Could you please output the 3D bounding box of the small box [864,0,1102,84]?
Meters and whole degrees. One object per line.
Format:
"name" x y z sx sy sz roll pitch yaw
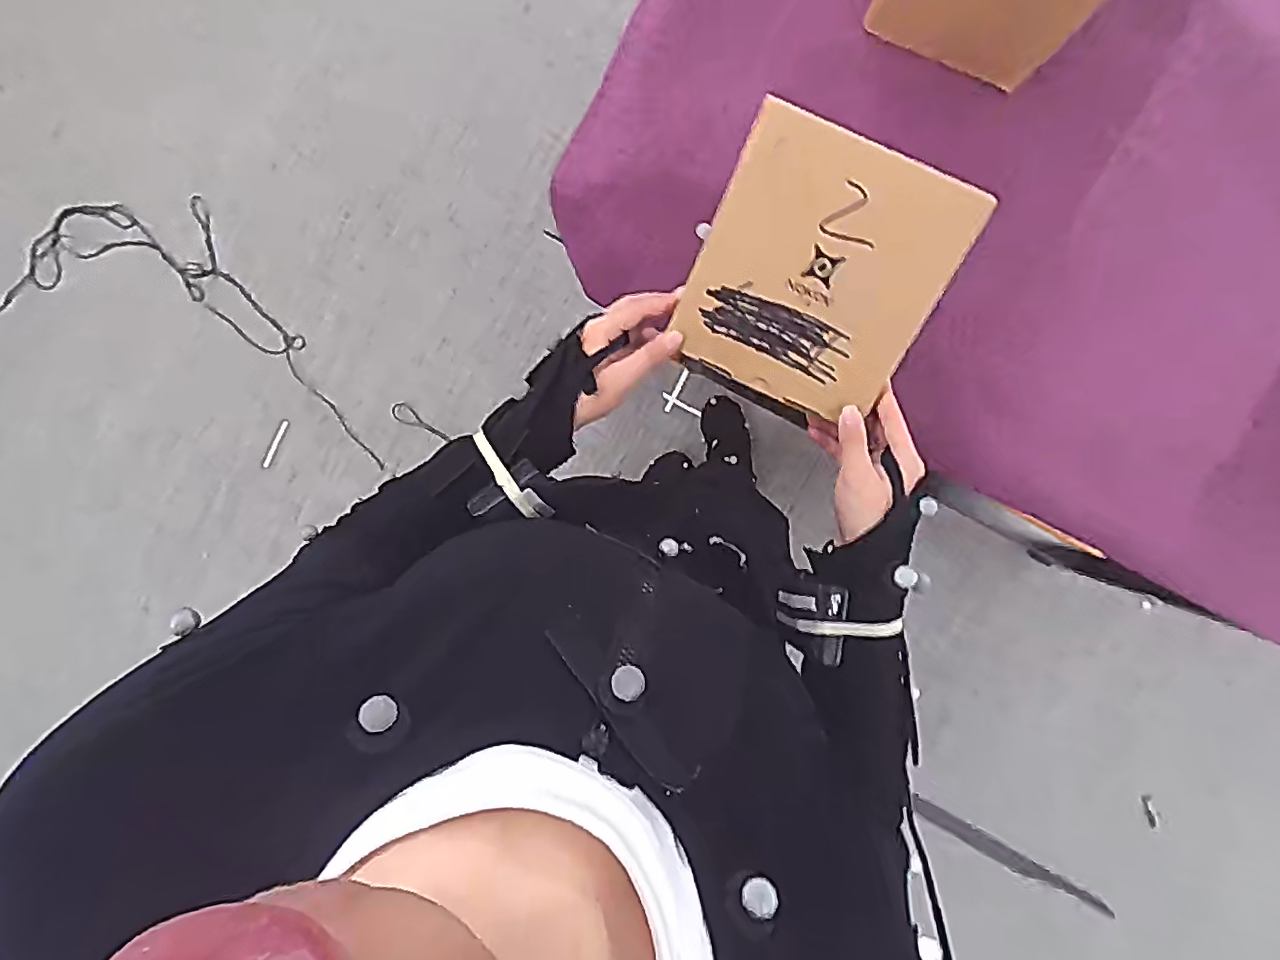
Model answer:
"small box" 0.343 -0.513 0.494 0.179 0.176 0.168 25 96 1
